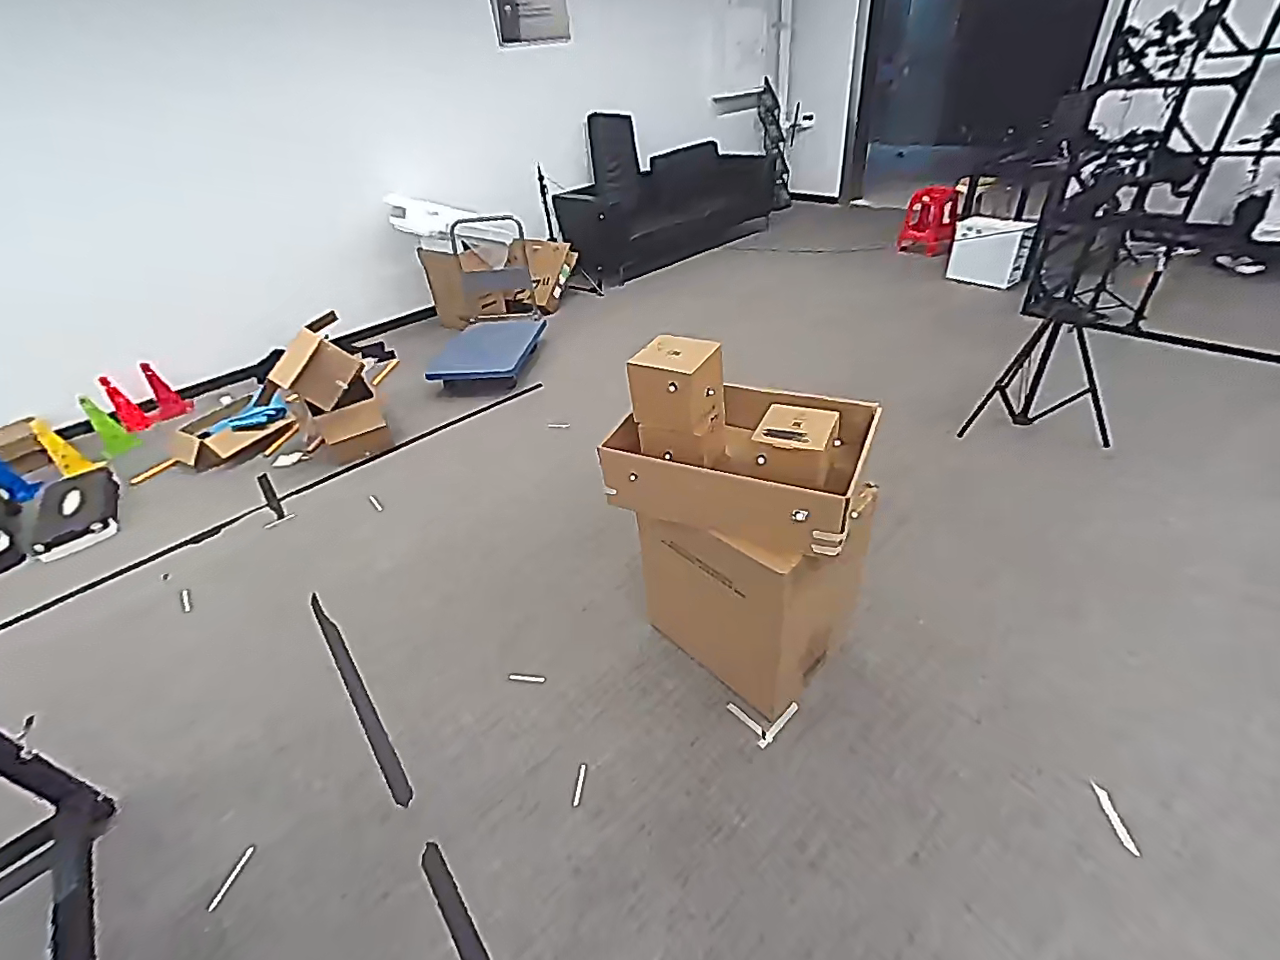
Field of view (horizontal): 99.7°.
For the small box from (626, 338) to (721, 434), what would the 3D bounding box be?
[{"bbox_3d":[0.091,-0.231,1.335,0.179,0.176,0.168,16,44,29],"label":"small box"}]
